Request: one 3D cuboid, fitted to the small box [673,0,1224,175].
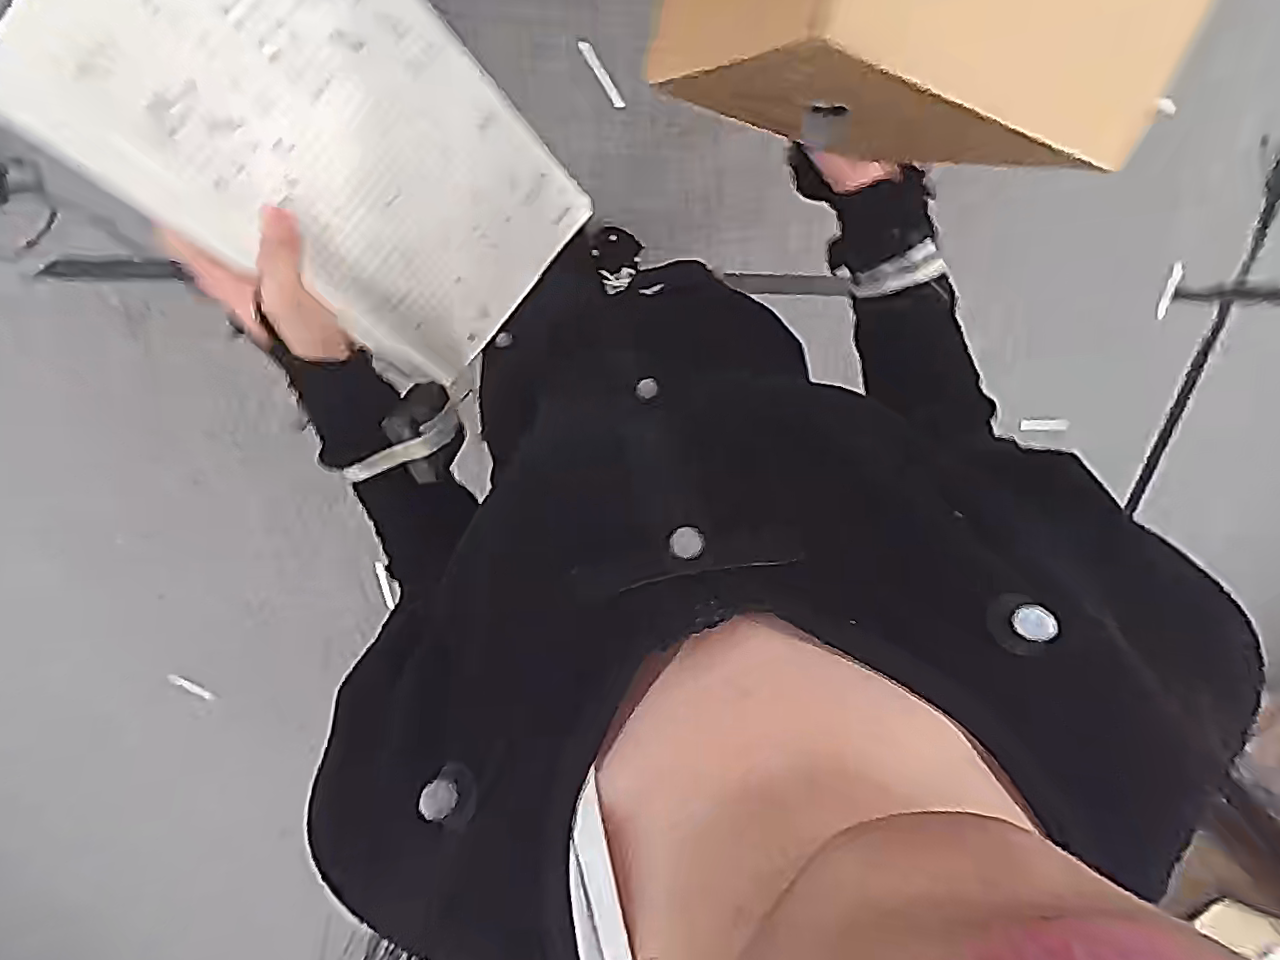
[{"bbox_3d":[0.128,-0.250,0.232,0.168,0.176,0.179,4,117,-22],"label":"small box"}]

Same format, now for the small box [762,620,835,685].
[{"bbox_3d":[0.549,0.616,1.853,0.168,0.176,0.179,-42,111,16],"label":"small box"}]
